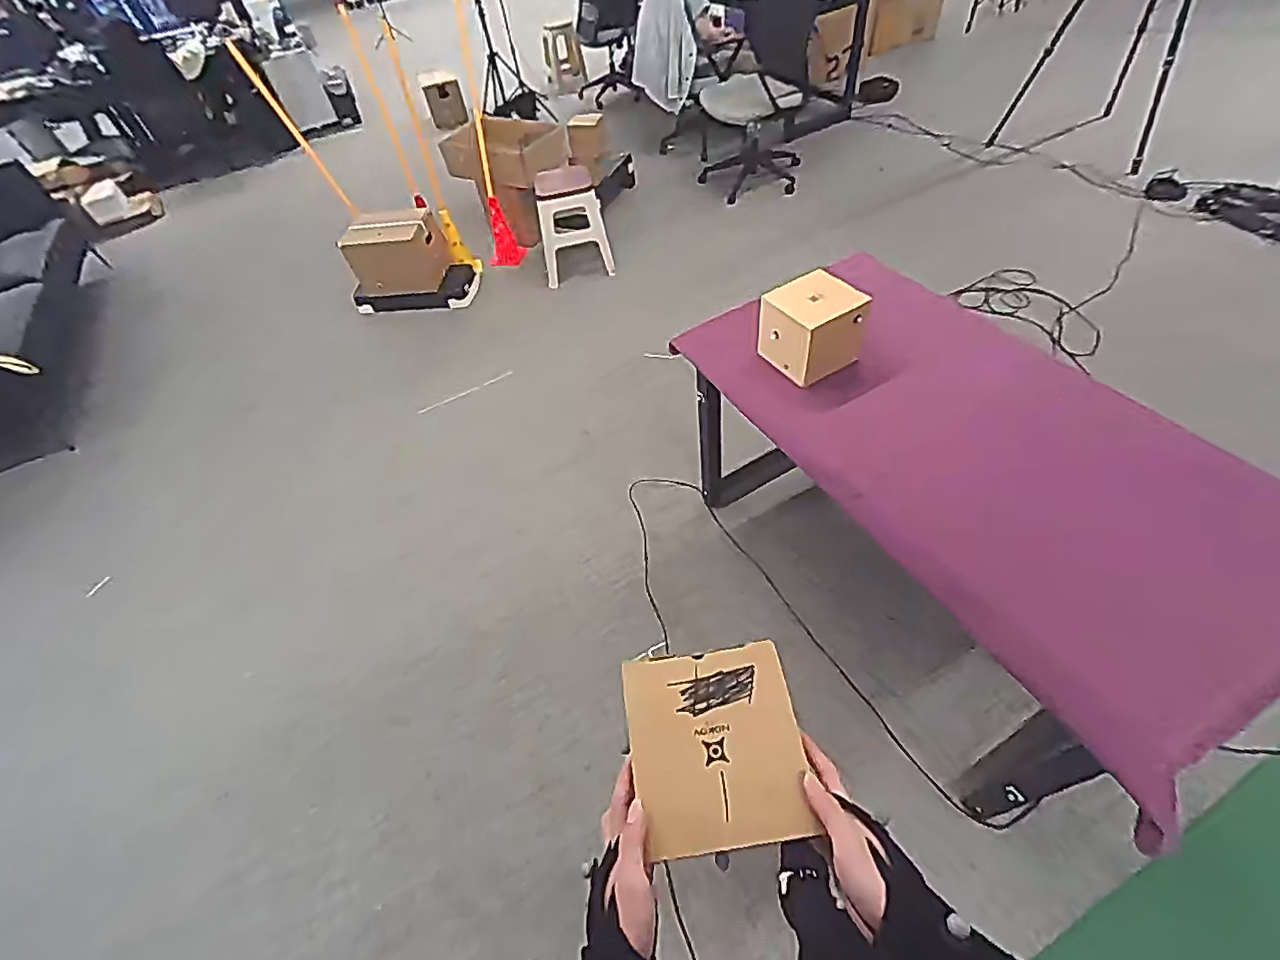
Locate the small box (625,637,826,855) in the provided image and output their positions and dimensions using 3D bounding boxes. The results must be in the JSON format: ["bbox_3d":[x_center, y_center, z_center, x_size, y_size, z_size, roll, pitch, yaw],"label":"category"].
[{"bbox_3d":[0.078,0.291,0.585,0.168,0.176,0.179,-8,56,-1],"label":"small box"}]

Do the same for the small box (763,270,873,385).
[{"bbox_3d":[0.401,-0.349,1.251,0.179,0.176,0.168,-28,53,-14],"label":"small box"}]
